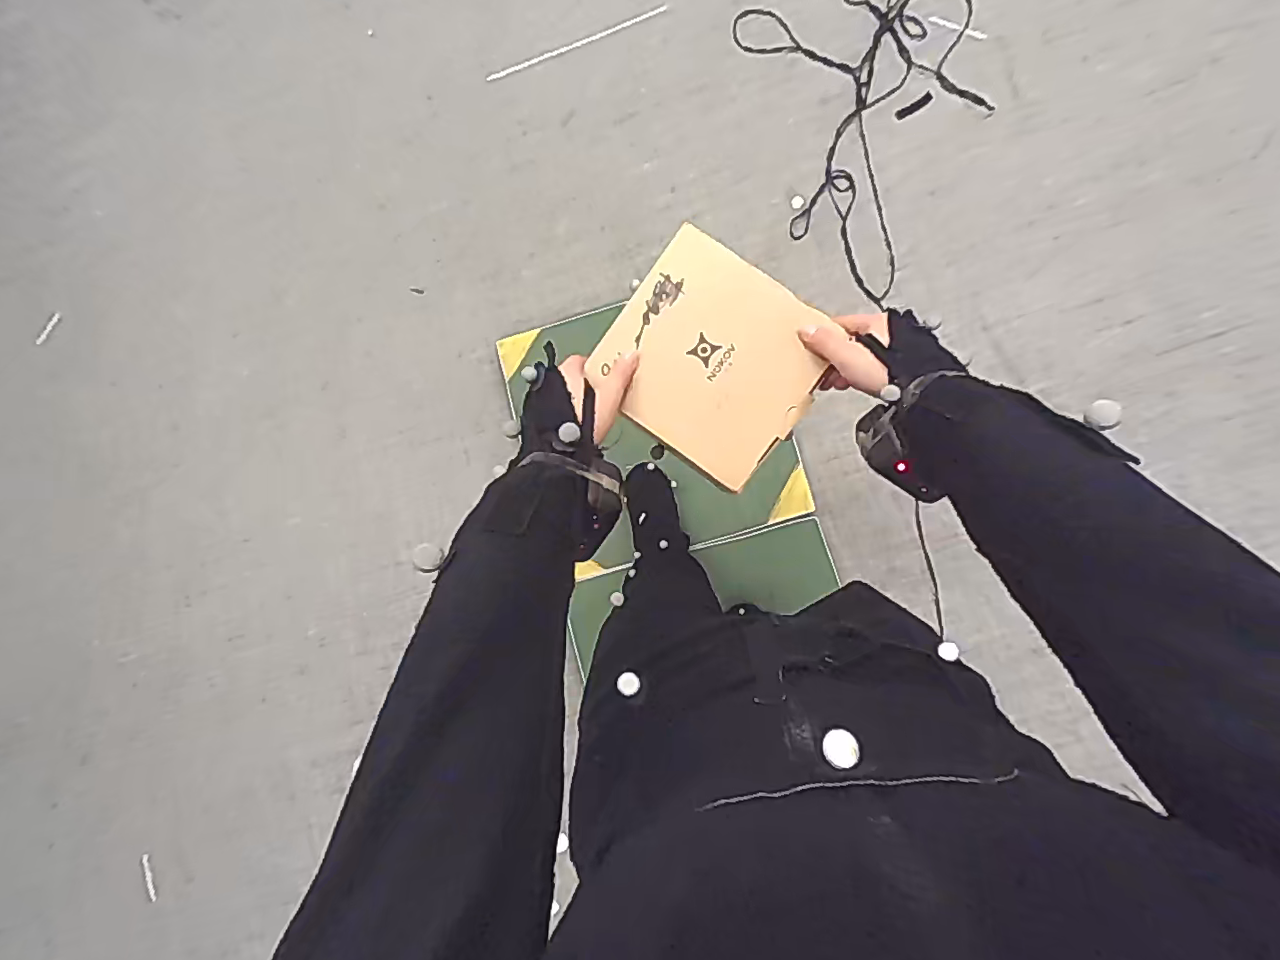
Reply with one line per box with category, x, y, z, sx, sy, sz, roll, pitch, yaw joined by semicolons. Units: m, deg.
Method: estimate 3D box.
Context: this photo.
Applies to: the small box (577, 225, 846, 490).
small box;0.066;-0.107;0.545;0.179;0.176;0.168;36;92;3
